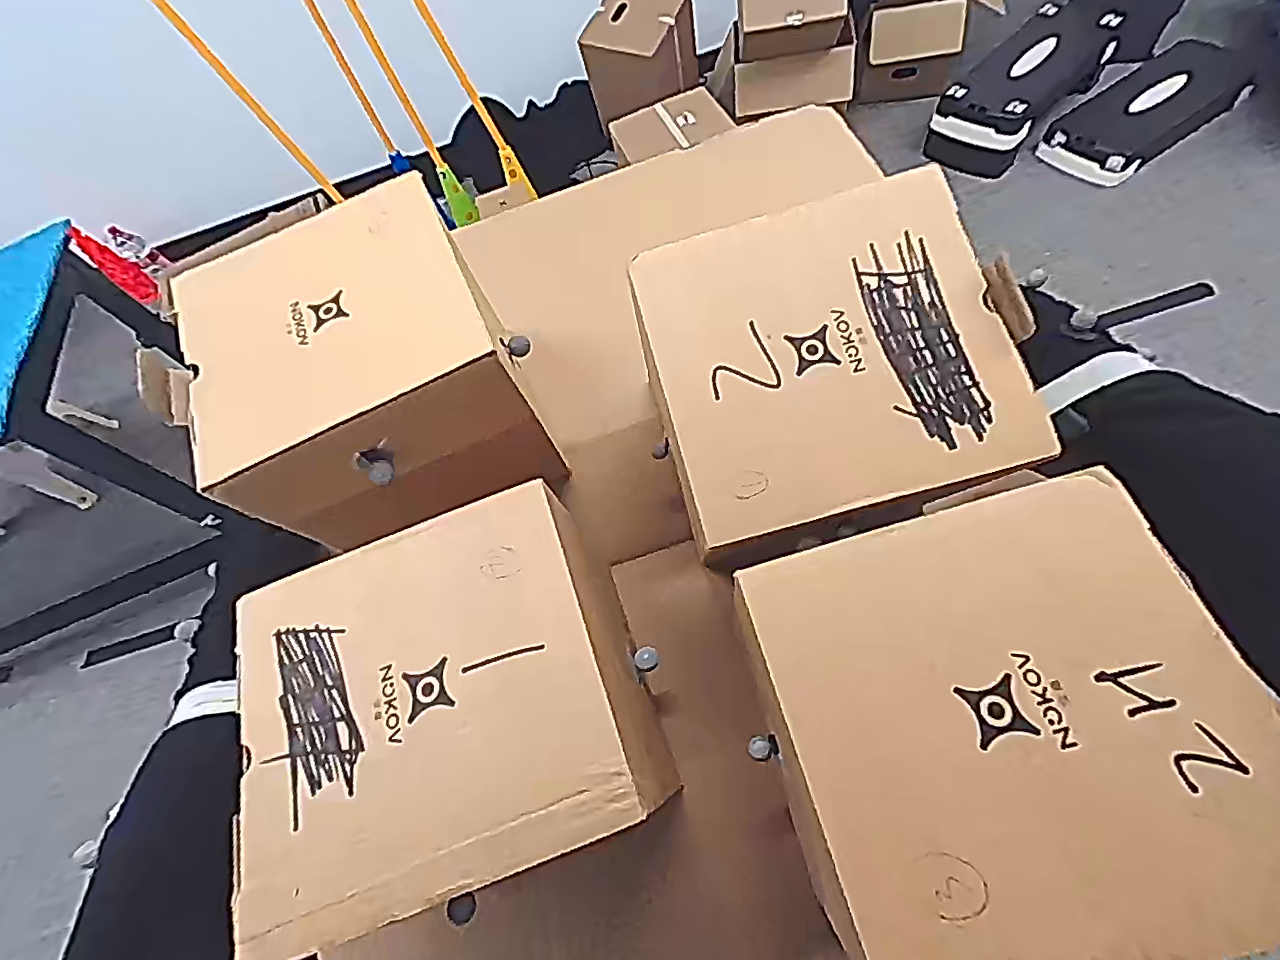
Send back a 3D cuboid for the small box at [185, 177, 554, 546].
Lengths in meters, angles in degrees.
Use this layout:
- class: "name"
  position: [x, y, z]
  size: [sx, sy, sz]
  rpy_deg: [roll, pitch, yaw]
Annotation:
- class: "small box"
  position: [-0.180, -0.073, 0.405]
  size: [0.179, 0.176, 0.168]
  rpy_deg: [-27, 67, -1]
